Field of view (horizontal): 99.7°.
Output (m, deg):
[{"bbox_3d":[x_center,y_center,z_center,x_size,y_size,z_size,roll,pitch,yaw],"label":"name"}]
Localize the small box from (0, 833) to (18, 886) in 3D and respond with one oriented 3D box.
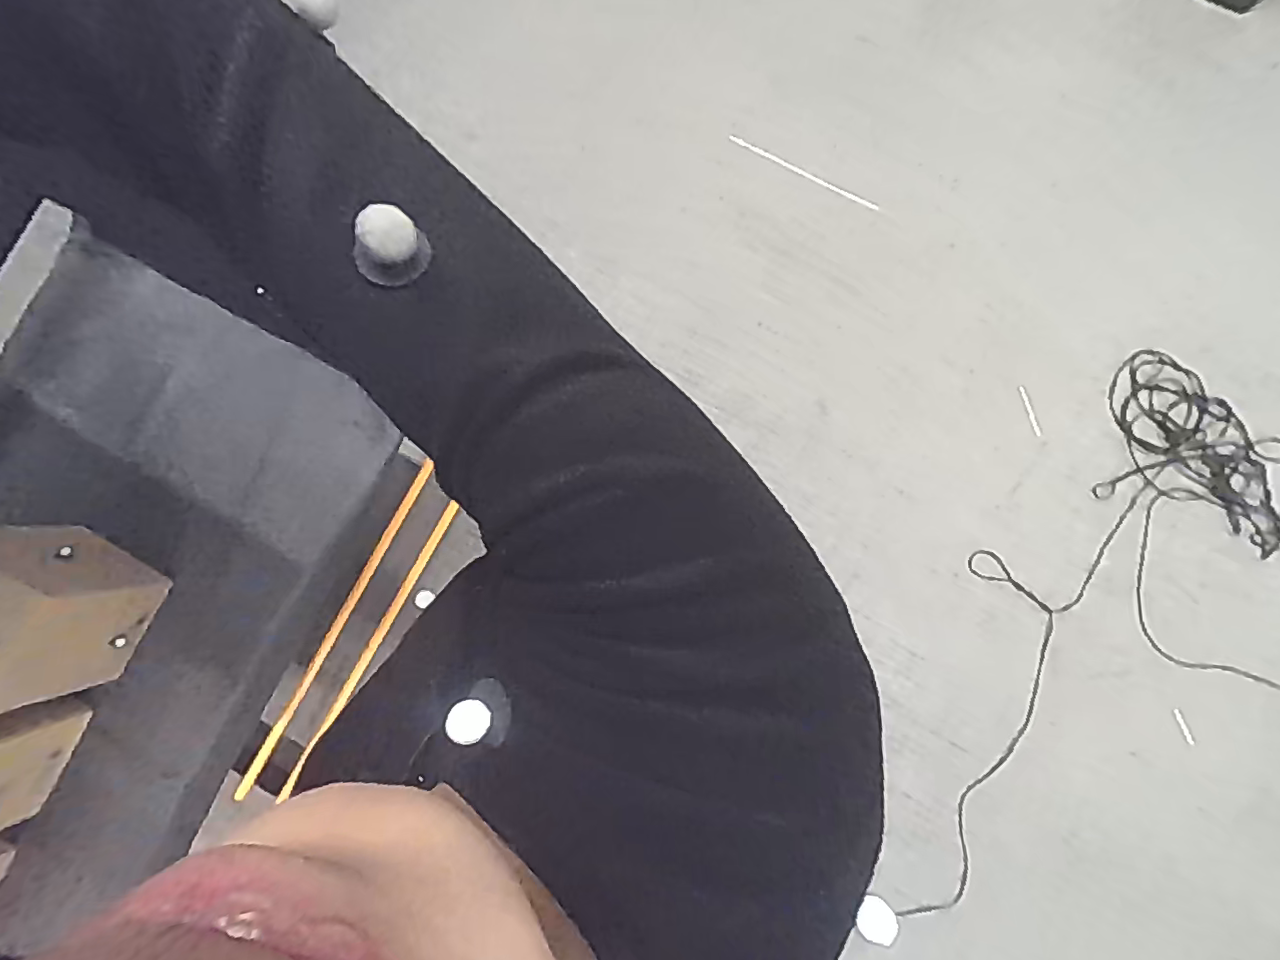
[{"bbox_3d":[-1.013,0.555,0.708,0.179,0.176,0.168,26,88,5],"label":"small box"}]
